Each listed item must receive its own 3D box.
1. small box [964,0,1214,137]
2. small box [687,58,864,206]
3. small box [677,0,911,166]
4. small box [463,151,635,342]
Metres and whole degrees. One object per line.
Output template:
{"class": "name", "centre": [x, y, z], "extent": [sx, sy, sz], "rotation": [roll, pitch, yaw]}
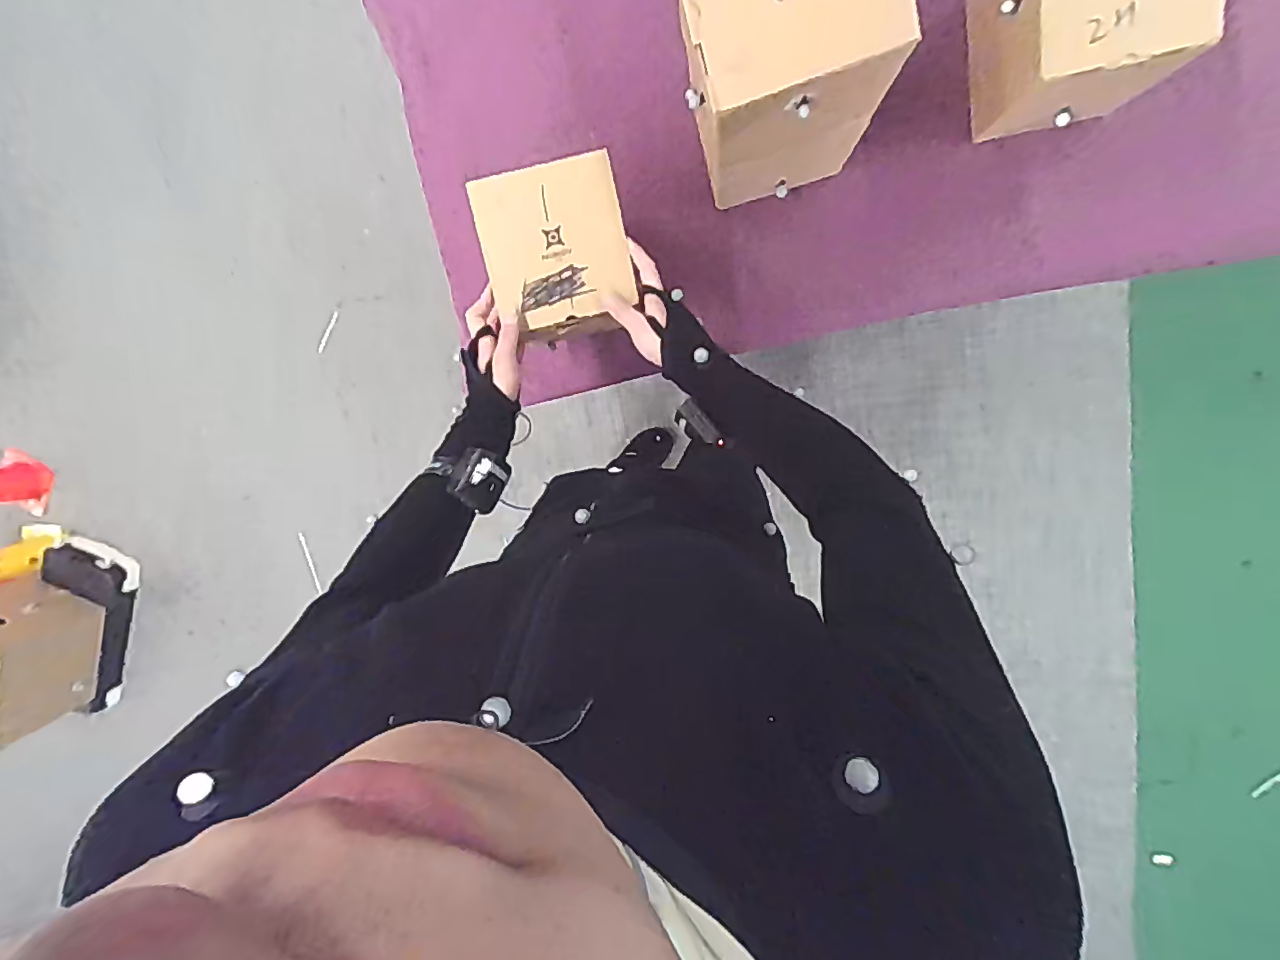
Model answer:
{"class": "small box", "centre": [0.494, -0.534, 0.619], "extent": [0.168, 0.176, 0.179], "rotation": [-7, 101, 10]}
{"class": "small box", "centre": [0.159, -0.473, 0.682], "extent": [0.179, 0.176, 0.168], "rotation": [-13, 100, 10]}
{"class": "small box", "centre": [0.133, -0.438, 0.524], "extent": [0.179, 0.176, 0.168], "rotation": [-14, 101, 11]}
{"class": "small box", "centre": [-0.101, -0.279, 0.692], "extent": [0.168, 0.176, 0.179], "rotation": [-12, 100, 2]}
